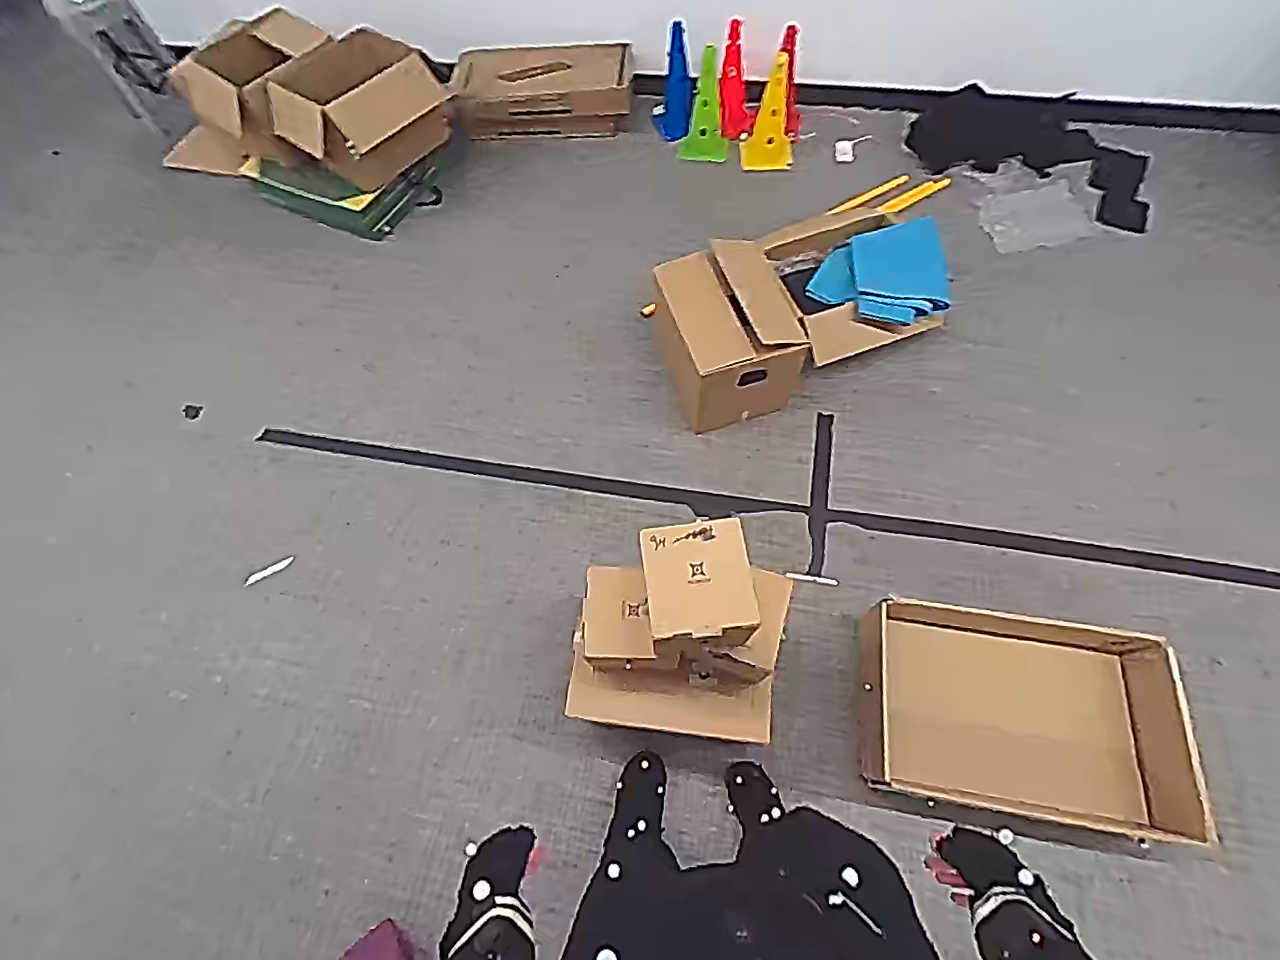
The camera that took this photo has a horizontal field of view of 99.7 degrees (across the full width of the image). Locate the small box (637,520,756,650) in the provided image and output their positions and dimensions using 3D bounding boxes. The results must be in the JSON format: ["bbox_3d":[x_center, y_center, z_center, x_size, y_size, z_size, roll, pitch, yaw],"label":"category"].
[{"bbox_3d":[0.089,0.184,0.909,0.168,0.176,0.179,-7,65,-1],"label":"small box"}]

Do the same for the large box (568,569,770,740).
[{"bbox_3d":[0.070,0.414,1.251,0.408,0.320,0.320,5,65,4],"label":"large box"}]
